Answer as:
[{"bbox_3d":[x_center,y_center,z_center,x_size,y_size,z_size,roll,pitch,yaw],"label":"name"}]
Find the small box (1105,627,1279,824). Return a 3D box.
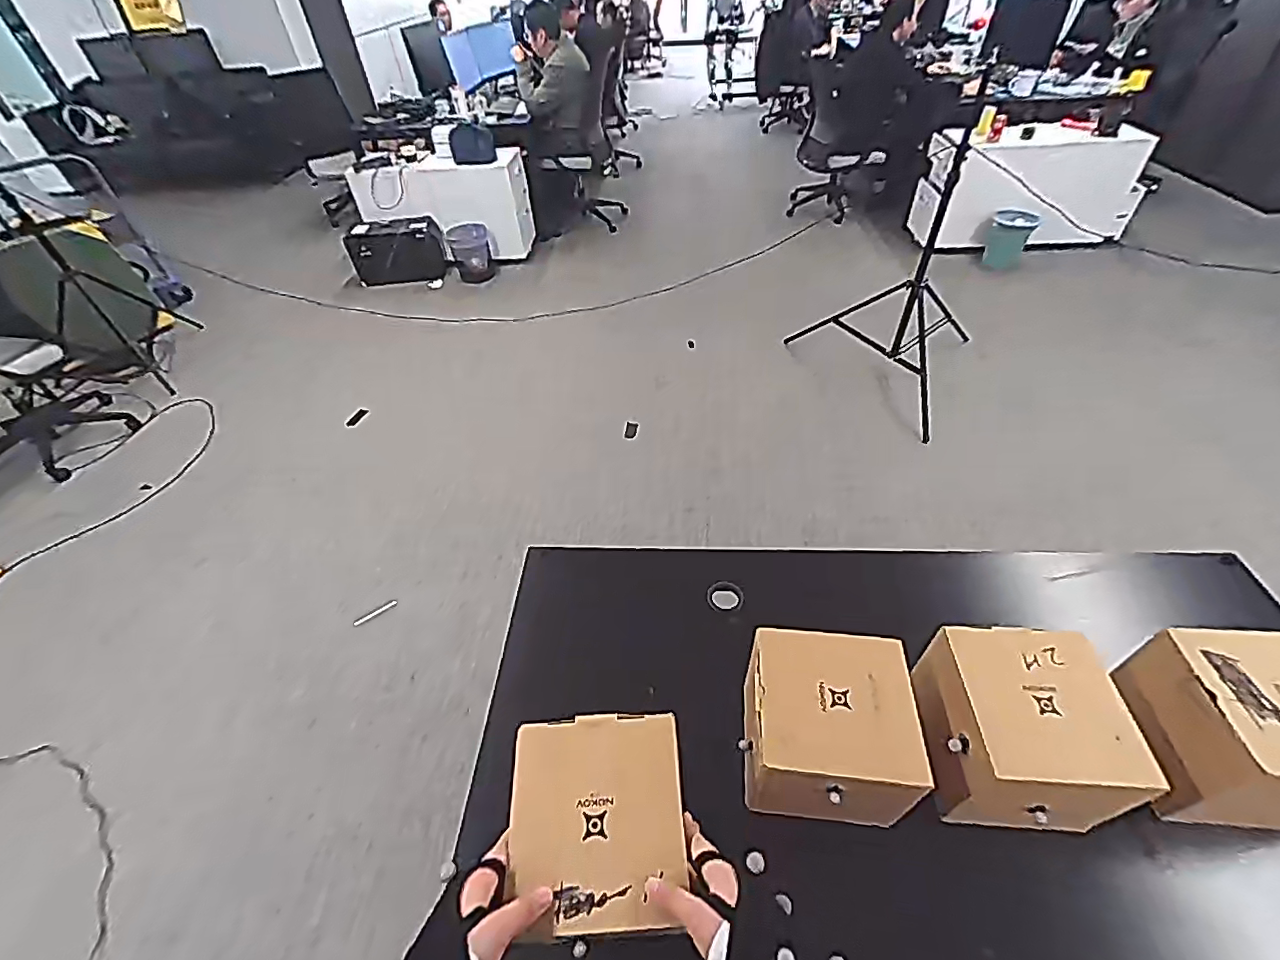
[{"bbox_3d":[0.712,0.296,0.651,0.179,0.176,0.168,2,45,5],"label":"small box"}]

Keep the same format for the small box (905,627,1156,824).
[{"bbox_3d":[0.452,0.303,0.665,0.168,0.176,0.179,1,45,5],"label":"small box"}]

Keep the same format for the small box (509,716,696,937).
[{"bbox_3d":[-0.031,0.374,0.583,0.168,0.176,0.179,-5,50,2],"label":"small box"}]
